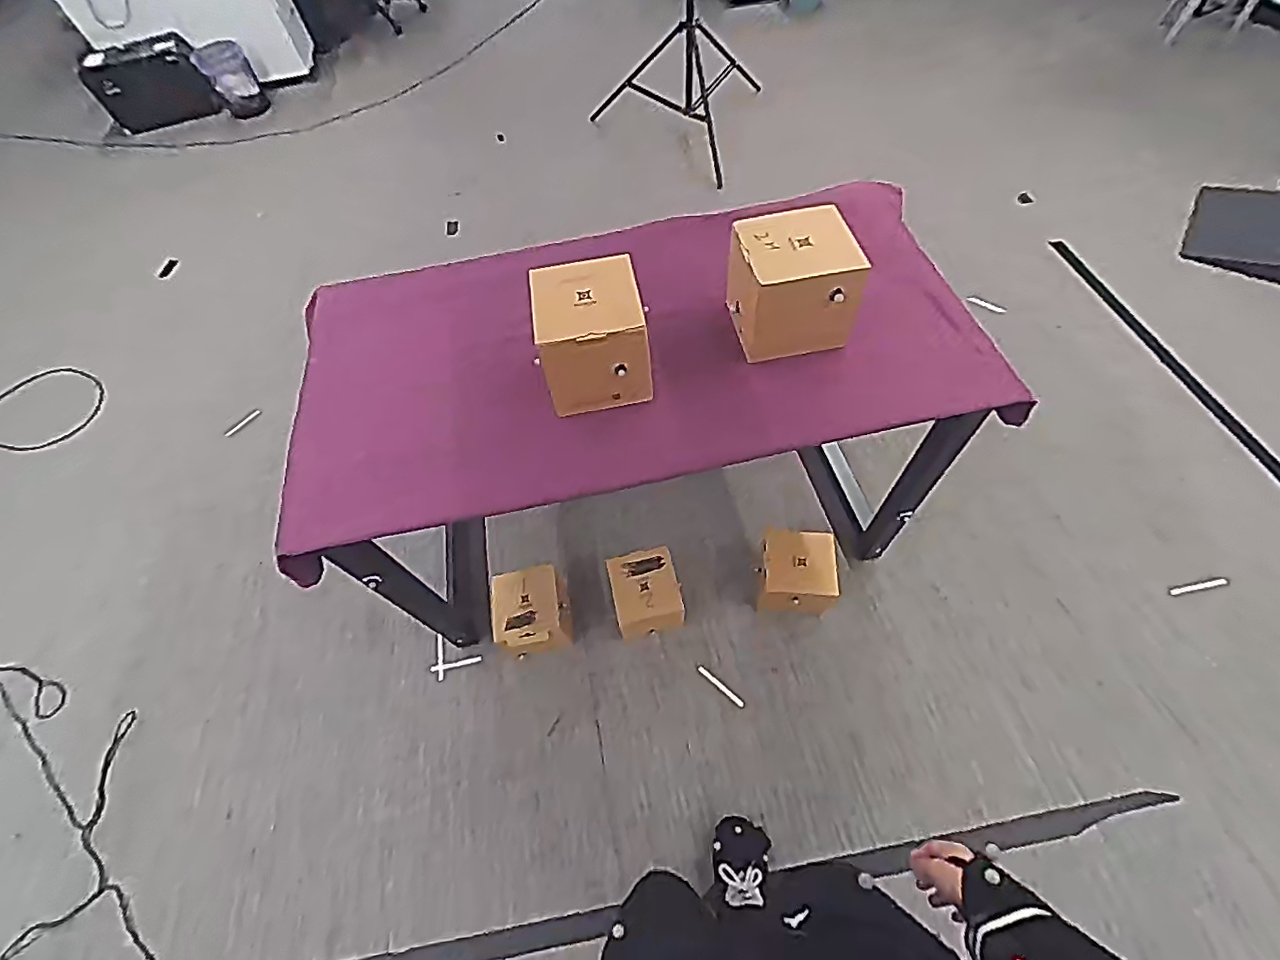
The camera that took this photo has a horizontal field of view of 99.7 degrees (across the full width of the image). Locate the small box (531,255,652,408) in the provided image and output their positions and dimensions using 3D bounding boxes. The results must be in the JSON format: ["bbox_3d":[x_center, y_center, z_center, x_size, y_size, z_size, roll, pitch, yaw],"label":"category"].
[{"bbox_3d":[-0.076,-0.235,0.892,0.168,0.176,0.179,-10,57,-2],"label":"small box"}]

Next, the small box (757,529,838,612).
[{"bbox_3d":[0.406,0.241,1.419,0.179,0.176,0.168,2,61,8],"label":"small box"}]

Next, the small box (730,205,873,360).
[{"bbox_3d":[0.259,-0.329,0.917,0.179,0.176,0.168,-10,58,-1],"label":"small box"}]

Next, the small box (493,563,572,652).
[{"bbox_3d":[-0.278,0.341,1.416,0.168,0.176,0.179,-11,58,-2],"label":"small box"}]
